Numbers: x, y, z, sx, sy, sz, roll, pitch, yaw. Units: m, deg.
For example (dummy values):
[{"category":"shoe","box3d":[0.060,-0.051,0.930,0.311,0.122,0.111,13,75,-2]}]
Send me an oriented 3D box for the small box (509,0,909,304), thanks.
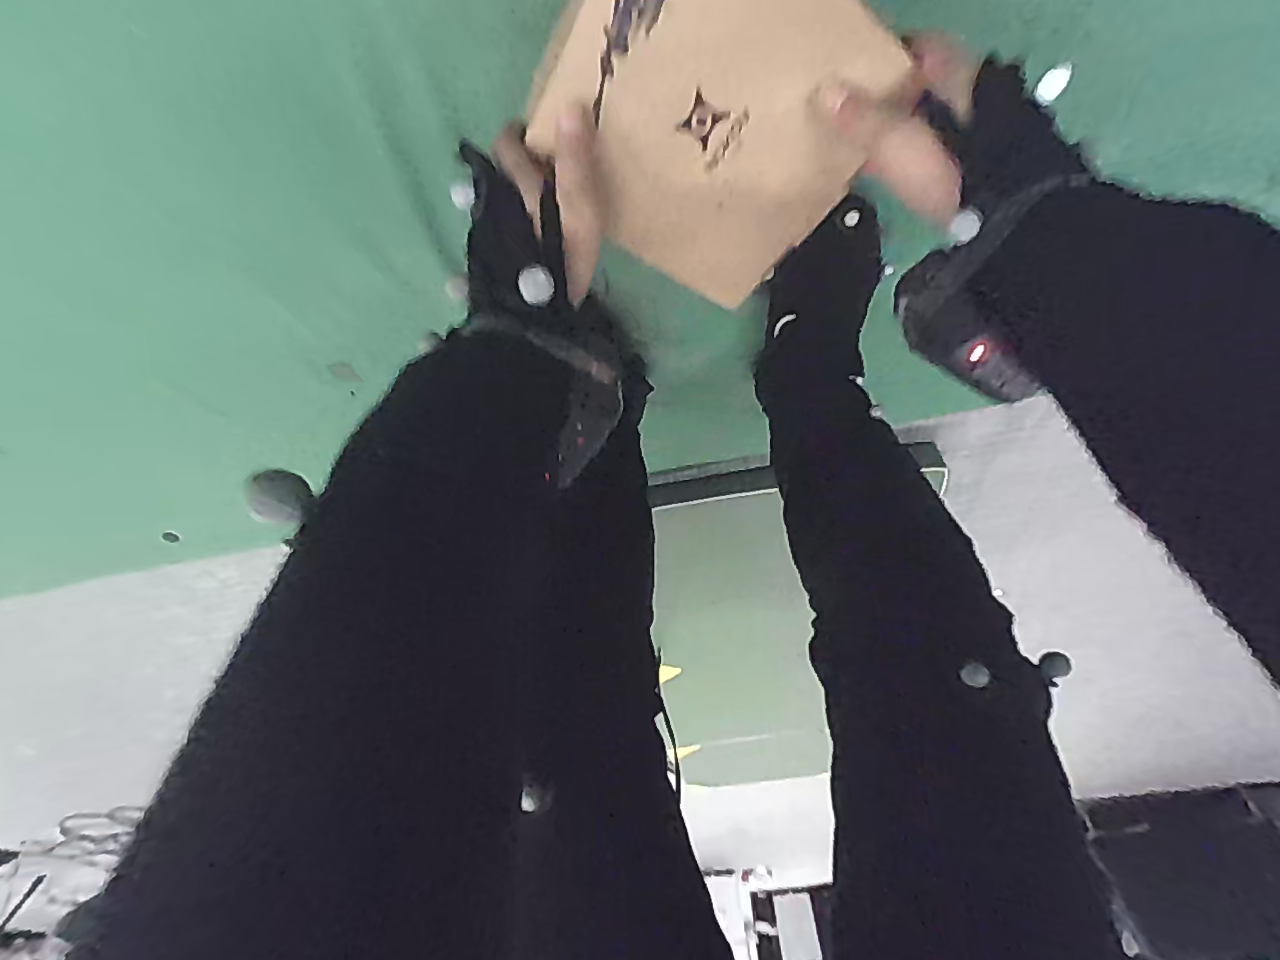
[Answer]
[{"category":"small box","box3d":[0.033,-0.262,0.361,0.179,0.176,0.168,21,134,-27]}]
